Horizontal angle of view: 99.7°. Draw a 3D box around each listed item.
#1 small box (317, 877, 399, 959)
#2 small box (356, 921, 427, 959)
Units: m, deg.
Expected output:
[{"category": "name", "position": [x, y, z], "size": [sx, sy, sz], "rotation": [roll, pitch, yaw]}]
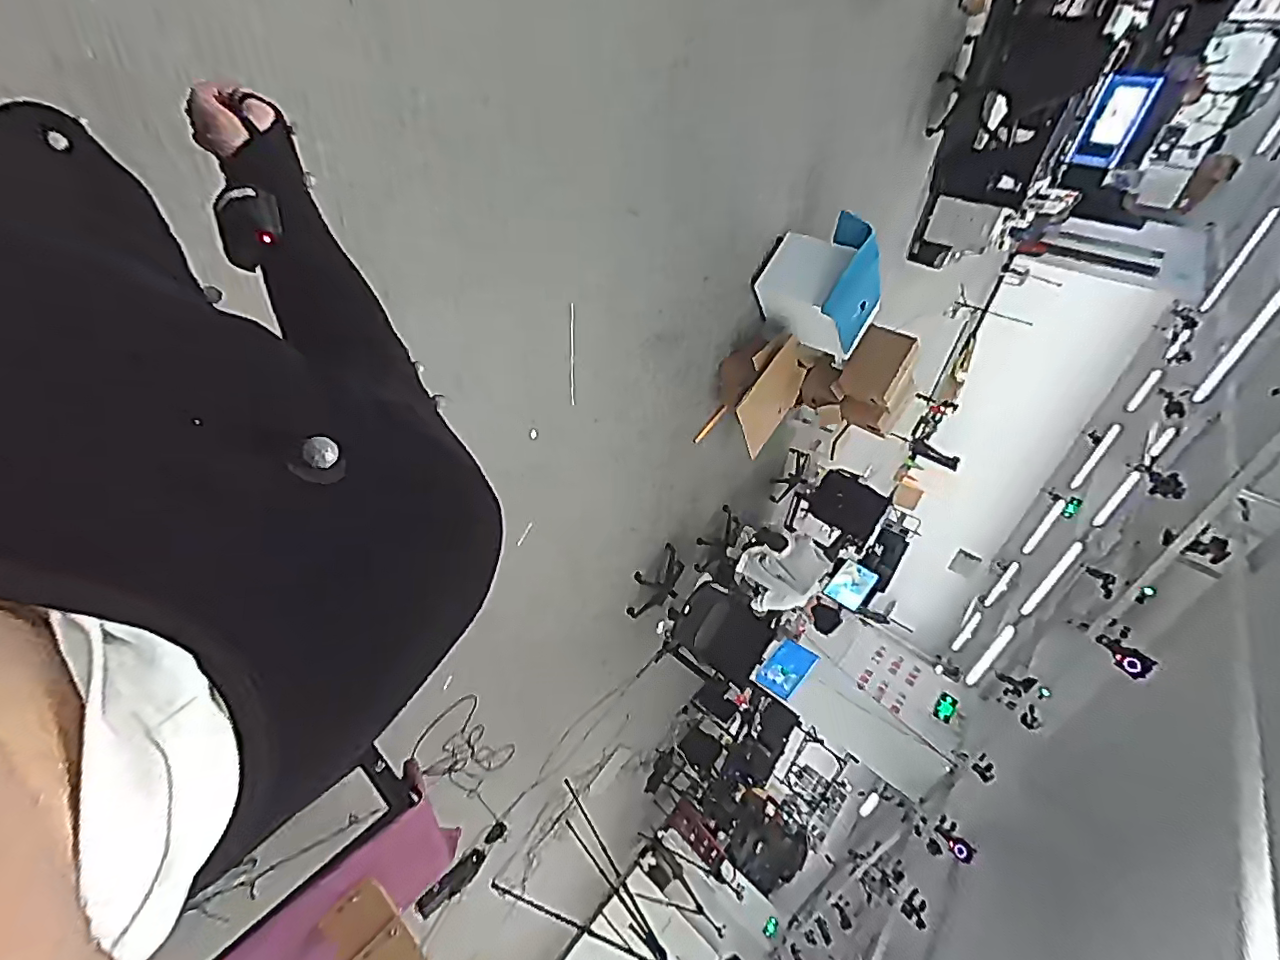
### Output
[{"category": "small box", "position": [-0.838, 1.354, 1.633], "size": [0.168, 0.176, 0.179], "rotation": [-34, 143, -38]}, {"category": "small box", "position": [-0.713, 1.420, 1.550], "size": [0.168, 0.176, 0.179], "rotation": [-34, 144, -39]}]
